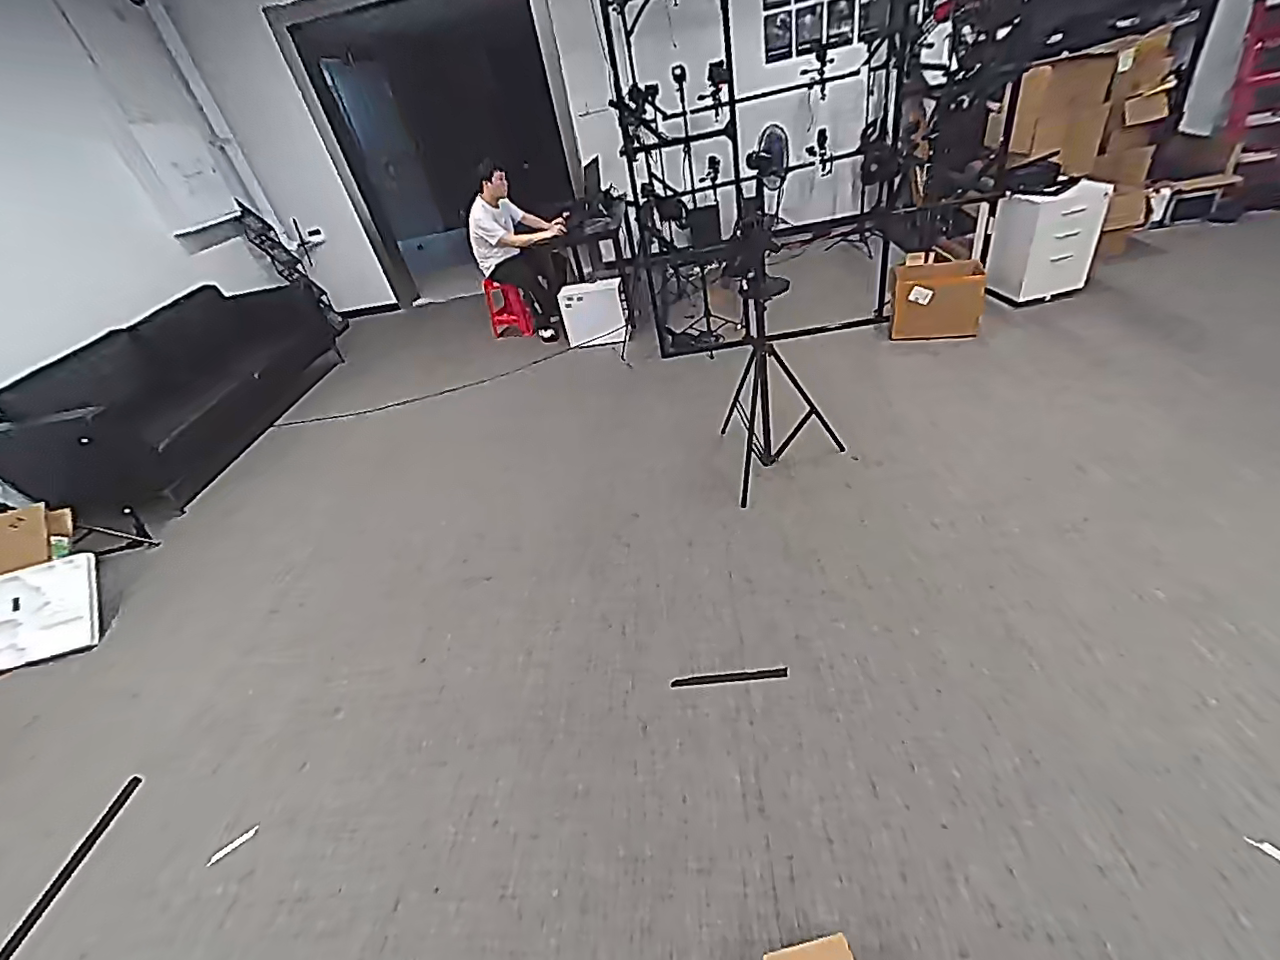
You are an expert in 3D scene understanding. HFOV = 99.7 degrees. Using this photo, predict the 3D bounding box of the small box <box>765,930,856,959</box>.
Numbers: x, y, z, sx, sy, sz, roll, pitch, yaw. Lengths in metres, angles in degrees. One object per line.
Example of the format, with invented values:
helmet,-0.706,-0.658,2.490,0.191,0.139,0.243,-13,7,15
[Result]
small box,0.346,1.003,1.023,0.168,0.176,0.179,-15,36,-1
